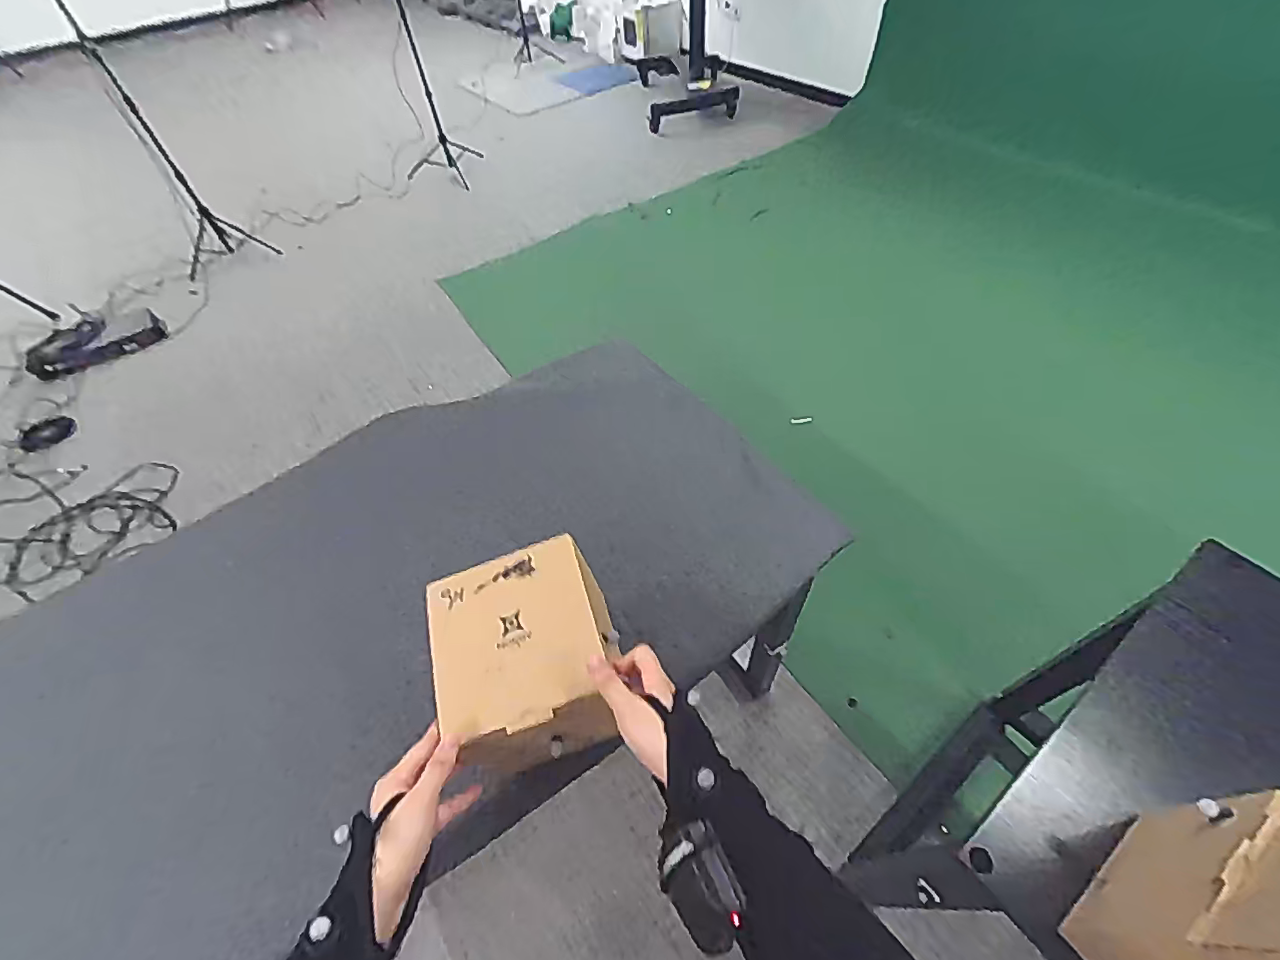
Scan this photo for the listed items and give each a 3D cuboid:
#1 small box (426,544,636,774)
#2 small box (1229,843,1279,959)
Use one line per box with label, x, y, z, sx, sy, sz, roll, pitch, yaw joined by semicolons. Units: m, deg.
small box;-0.113;0.204;0.593;0.168;0.176;0.179;-19;55;-3
small box;0.505;0.288;0.296;0.179;0.176;0.168;-29;56;-18
